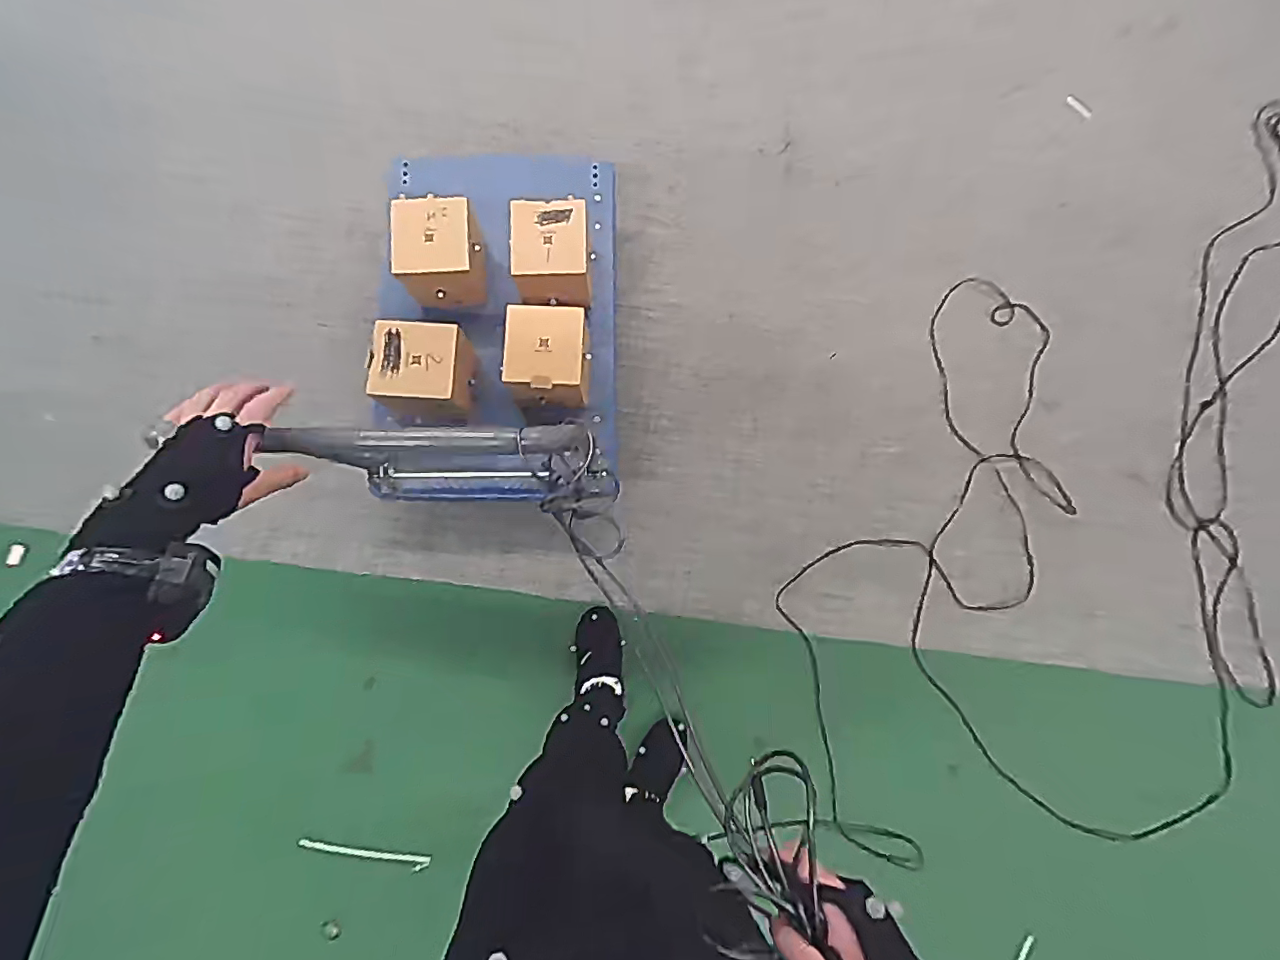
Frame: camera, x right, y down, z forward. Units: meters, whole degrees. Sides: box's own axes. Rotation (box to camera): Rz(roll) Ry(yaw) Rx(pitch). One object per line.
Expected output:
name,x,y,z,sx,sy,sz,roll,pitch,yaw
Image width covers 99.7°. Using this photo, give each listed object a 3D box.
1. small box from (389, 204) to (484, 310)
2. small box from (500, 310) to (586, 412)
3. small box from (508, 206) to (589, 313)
small box,-0.464,-0.506,1.251,0.168,0.176,0.179,-4,82,-3
small box,-0.212,-0.263,1.224,0.168,0.176,0.179,2,83,-1
small box,-0.208,-0.507,1.258,0.168,0.176,0.179,-2,83,-1
